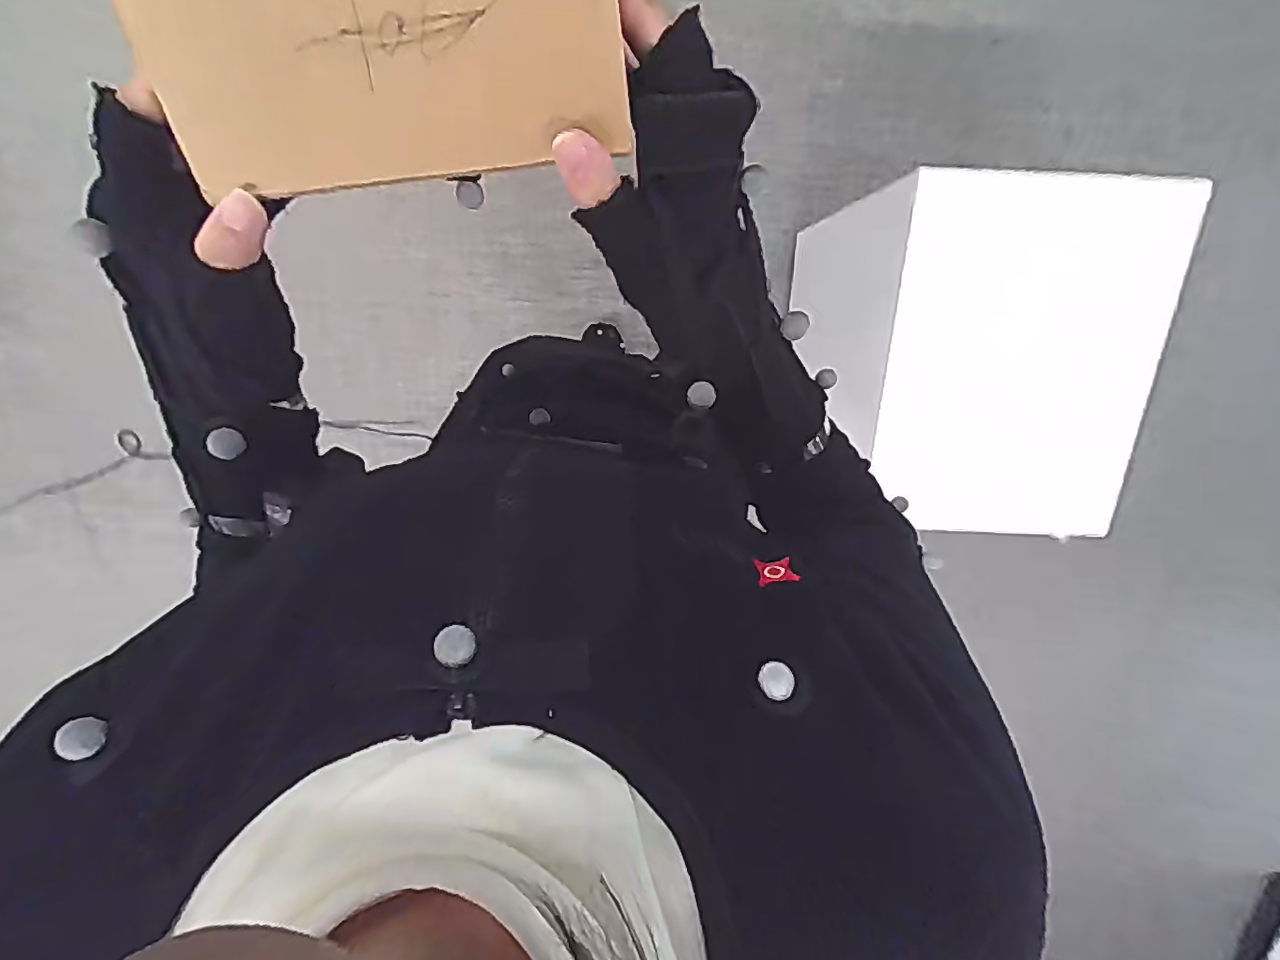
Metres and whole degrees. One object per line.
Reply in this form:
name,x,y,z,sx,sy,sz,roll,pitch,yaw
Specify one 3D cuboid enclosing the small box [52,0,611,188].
small box,-0.106,-0.227,0.216,0.168,0.176,0.179,-8,121,1
